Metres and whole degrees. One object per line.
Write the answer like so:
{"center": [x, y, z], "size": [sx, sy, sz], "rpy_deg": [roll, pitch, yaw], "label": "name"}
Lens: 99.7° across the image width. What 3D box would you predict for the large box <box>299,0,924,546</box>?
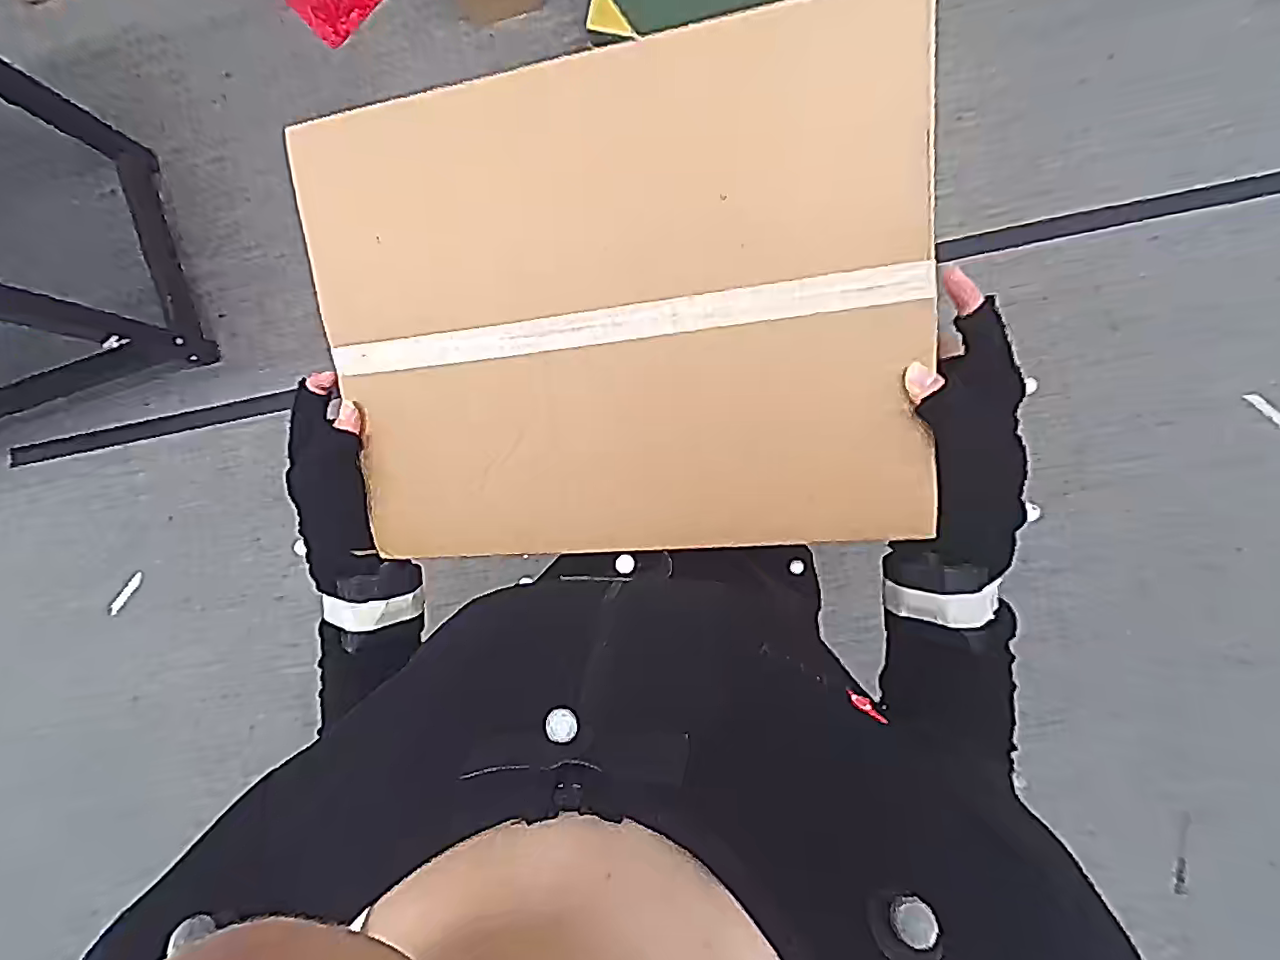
{"center": [0.003, -0.145, 0.503], "size": [0.408, 0.320, 0.320], "rpy_deg": [-4, 102, 13], "label": "large box"}
